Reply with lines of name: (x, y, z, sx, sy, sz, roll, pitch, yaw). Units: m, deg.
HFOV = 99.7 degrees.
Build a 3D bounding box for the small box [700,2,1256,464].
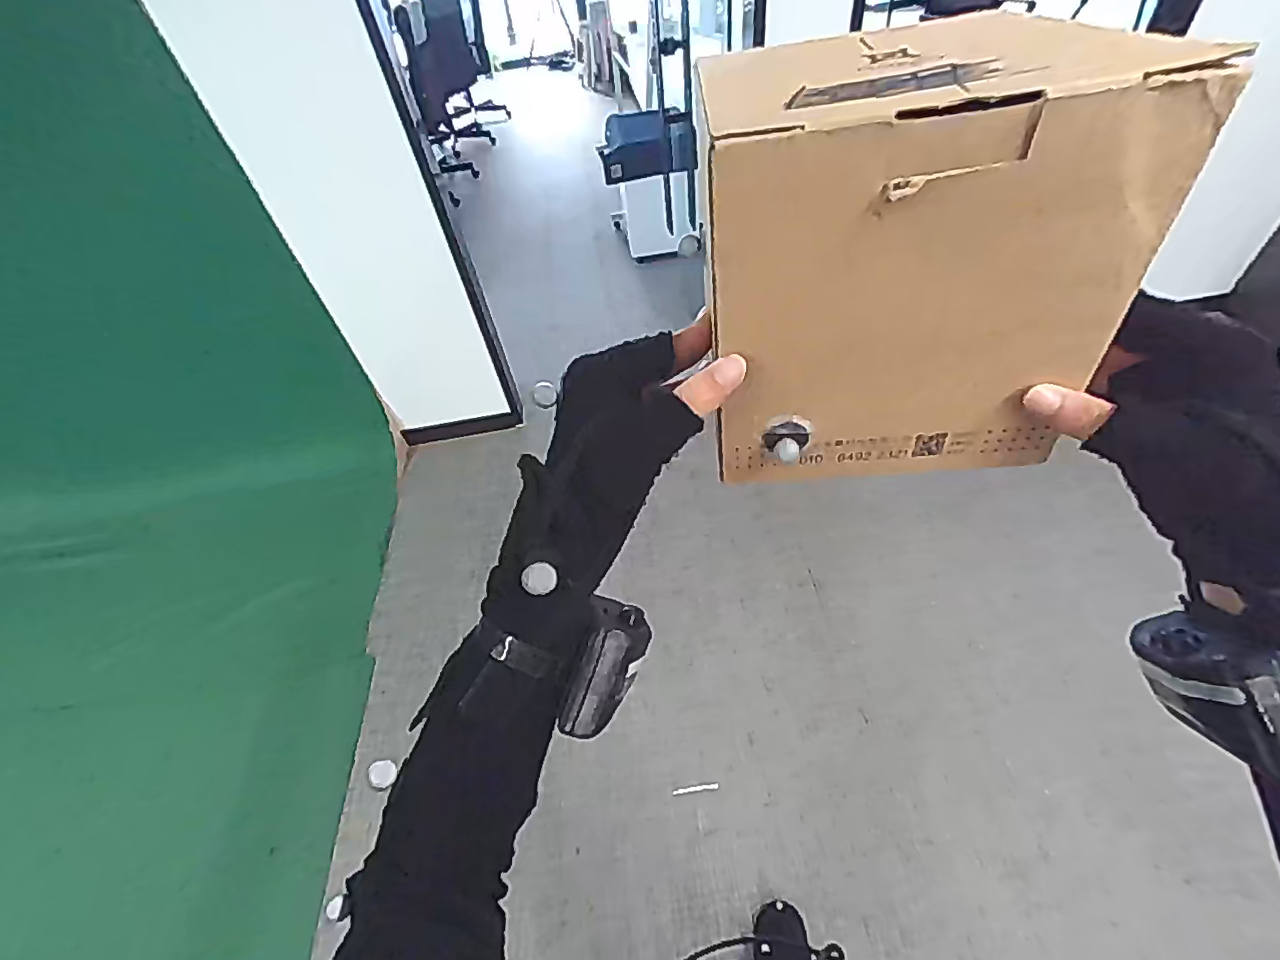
small box: (0.121, -0.120, 0.285, 0.168, 0.176, 0.179, -4, 44, 7)
